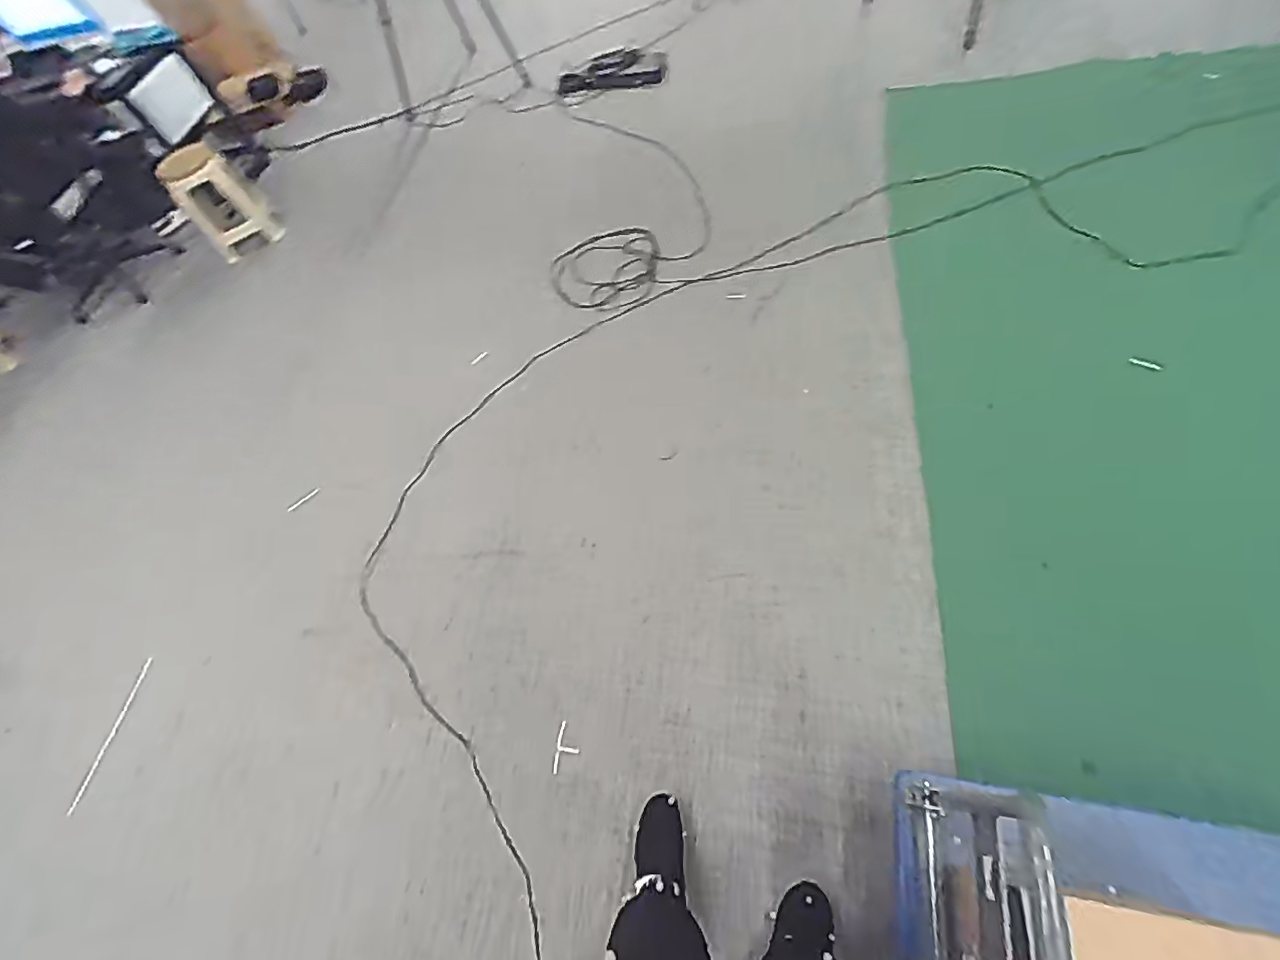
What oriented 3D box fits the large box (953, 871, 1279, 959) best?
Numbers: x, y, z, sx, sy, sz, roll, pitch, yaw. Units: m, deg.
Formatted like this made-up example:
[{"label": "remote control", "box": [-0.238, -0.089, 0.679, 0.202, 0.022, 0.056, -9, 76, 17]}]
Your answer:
[{"label": "large box", "box": [0.758, 0.832, 0.822, 0.408, 0.320, 0.320, 4, 62, 13]}]
